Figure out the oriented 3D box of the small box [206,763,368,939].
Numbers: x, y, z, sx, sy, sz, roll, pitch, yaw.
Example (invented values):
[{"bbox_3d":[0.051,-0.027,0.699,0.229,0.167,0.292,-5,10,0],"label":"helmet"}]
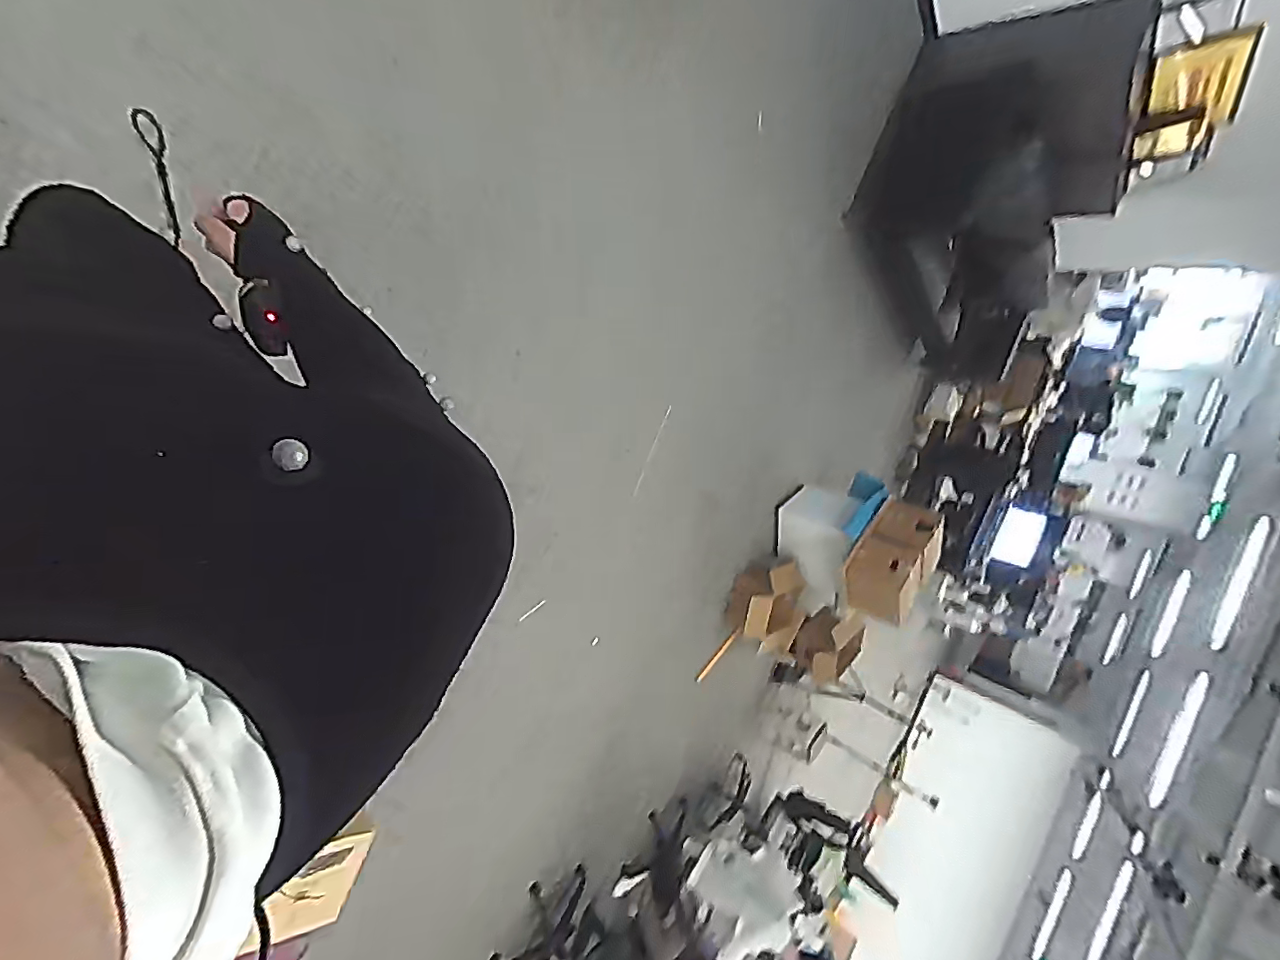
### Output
[{"bbox_3d":[-0.610,0.614,0.930,0.168,0.176,0.179,24,91,-49],"label":"small box"}]
